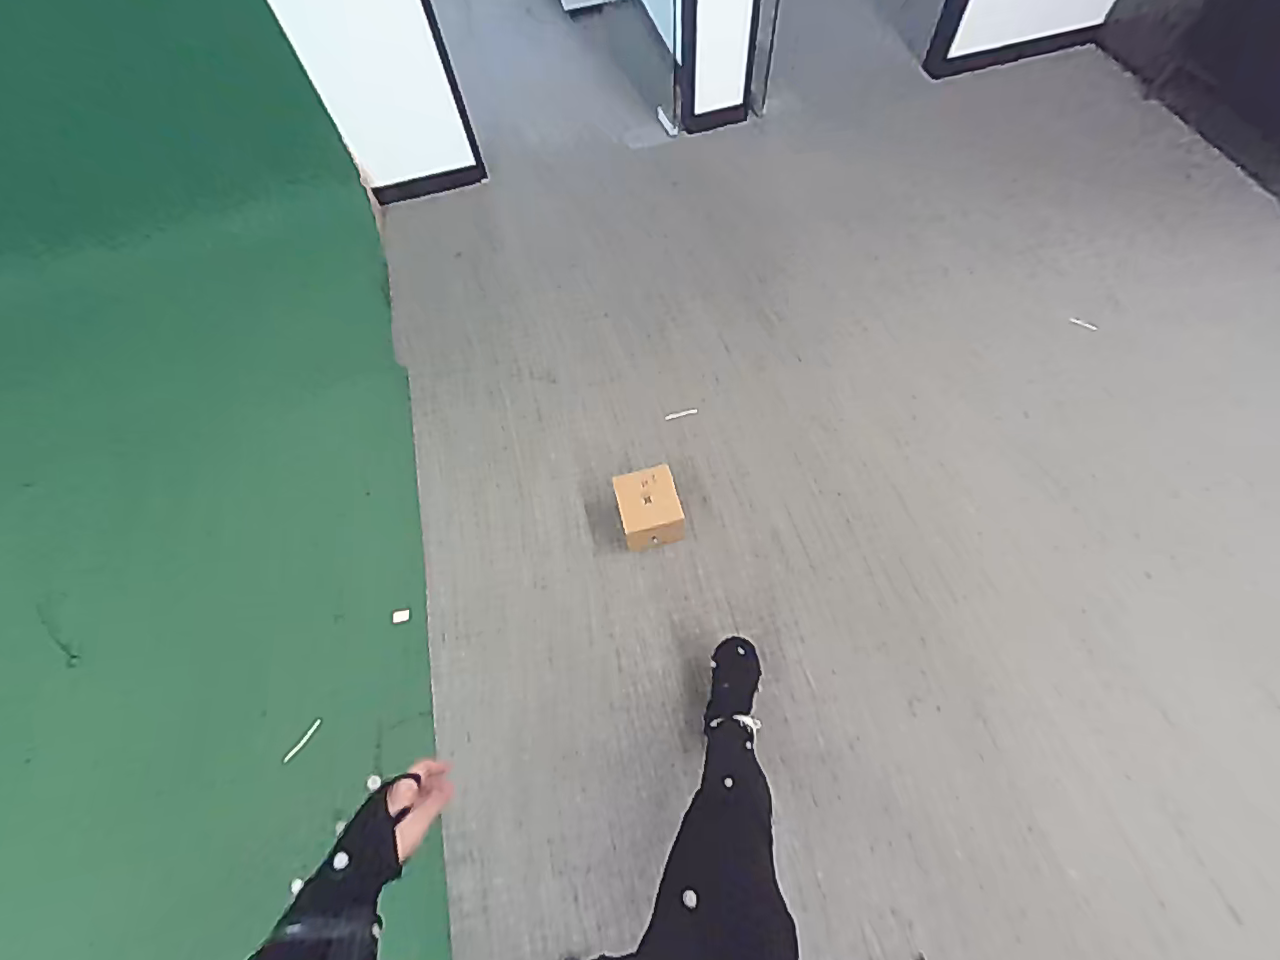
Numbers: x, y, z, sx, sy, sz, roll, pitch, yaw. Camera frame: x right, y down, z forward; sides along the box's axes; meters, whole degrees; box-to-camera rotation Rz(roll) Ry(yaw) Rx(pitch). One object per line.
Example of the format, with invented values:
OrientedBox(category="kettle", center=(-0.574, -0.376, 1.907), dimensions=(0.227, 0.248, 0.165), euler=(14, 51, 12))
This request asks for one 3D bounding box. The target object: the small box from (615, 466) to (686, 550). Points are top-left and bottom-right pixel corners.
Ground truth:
OrientedBox(category="small box", center=(0.034, 0.088, 1.545), dimensions=(0.168, 0.176, 0.179), euler=(-14, 63, -3))
